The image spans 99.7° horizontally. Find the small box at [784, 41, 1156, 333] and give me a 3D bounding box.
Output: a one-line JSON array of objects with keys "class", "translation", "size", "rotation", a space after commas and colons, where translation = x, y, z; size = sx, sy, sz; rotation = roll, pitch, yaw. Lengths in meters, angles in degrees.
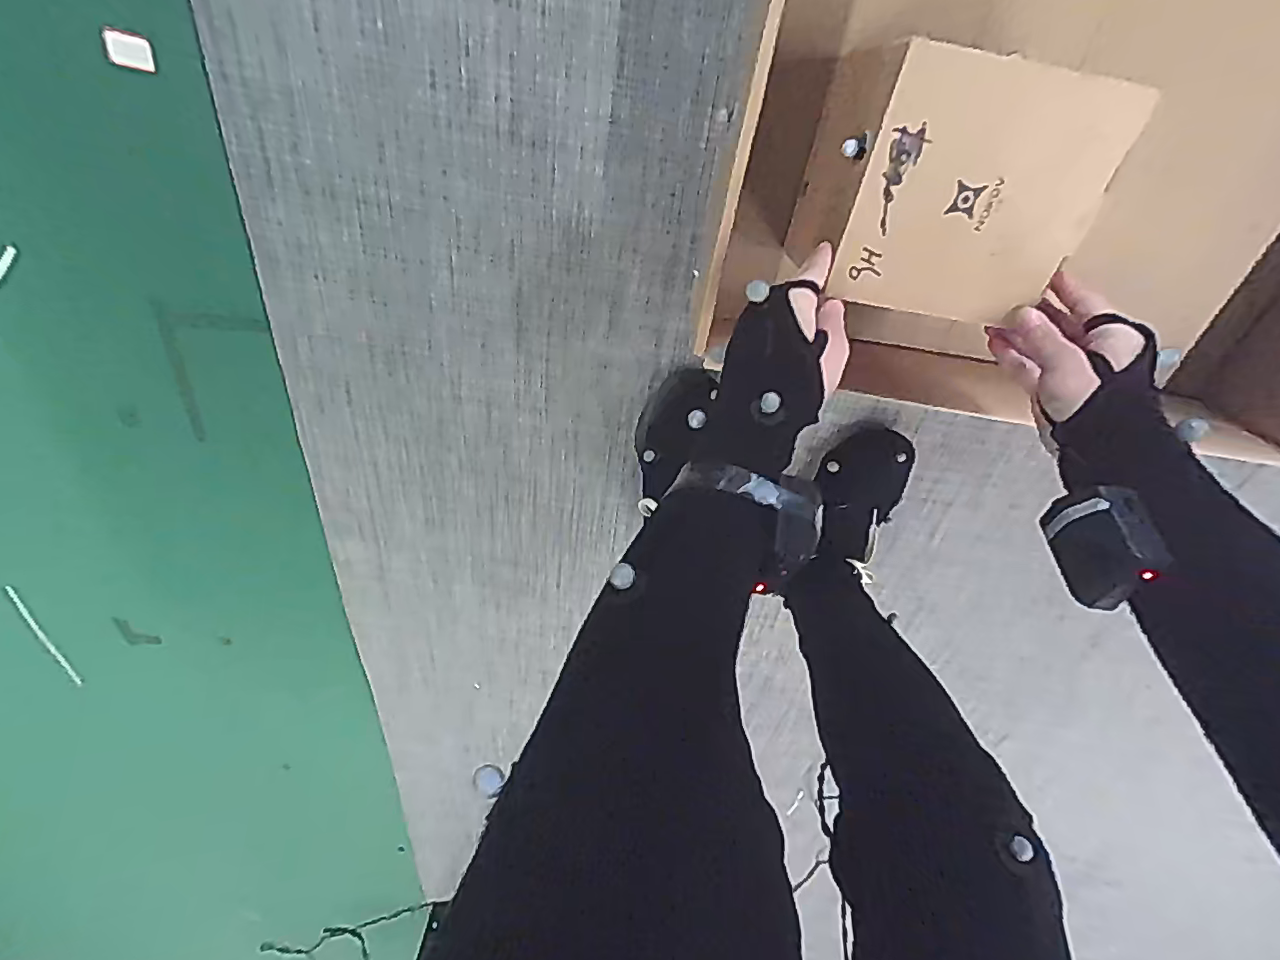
[{"class": "small box", "translation": [0.243, -0.242, 0.456], "size": [0.179, 0.176, 0.168], "rotation": [8, 123, -4]}]
